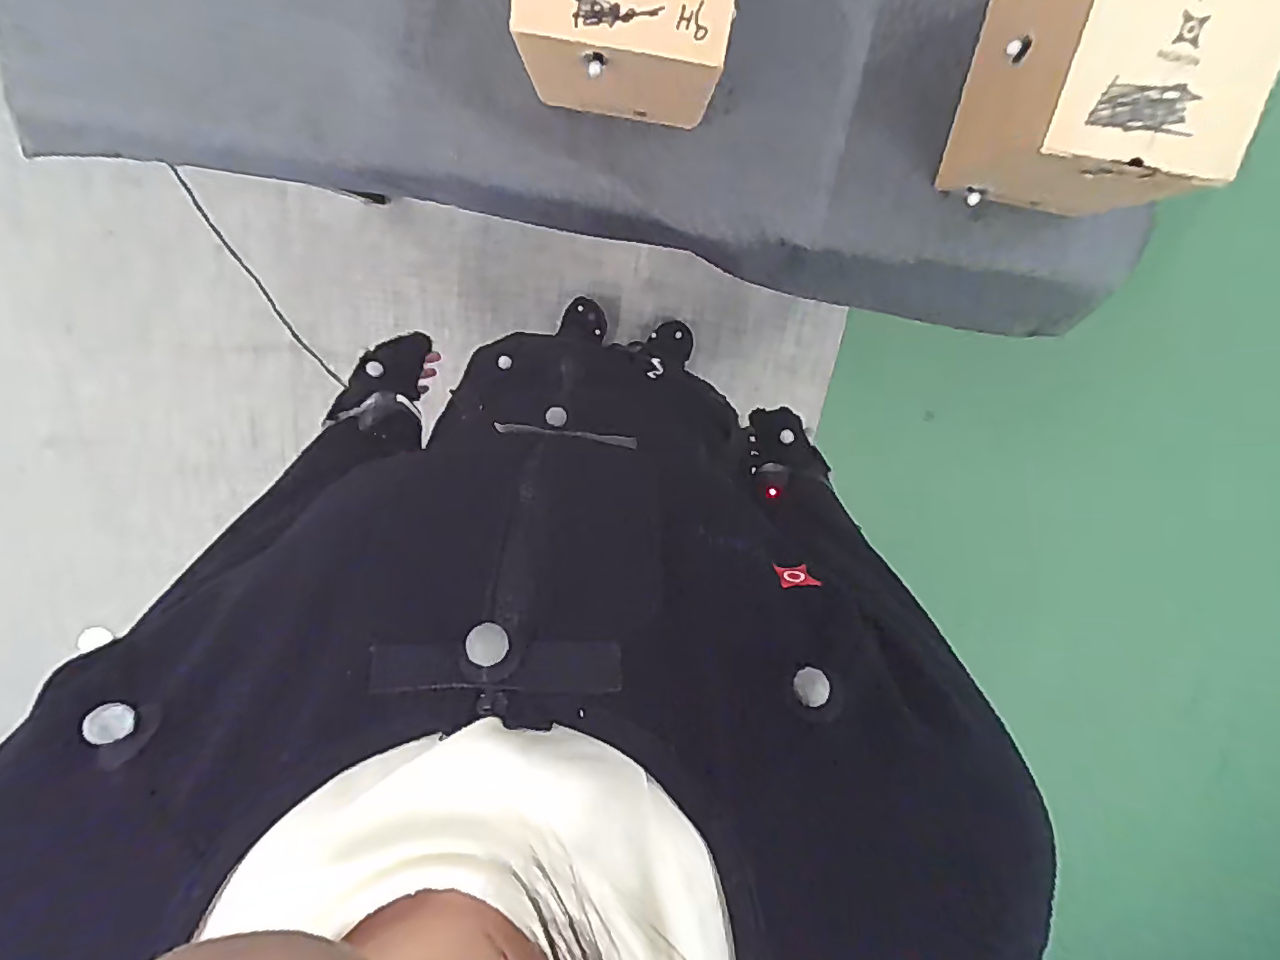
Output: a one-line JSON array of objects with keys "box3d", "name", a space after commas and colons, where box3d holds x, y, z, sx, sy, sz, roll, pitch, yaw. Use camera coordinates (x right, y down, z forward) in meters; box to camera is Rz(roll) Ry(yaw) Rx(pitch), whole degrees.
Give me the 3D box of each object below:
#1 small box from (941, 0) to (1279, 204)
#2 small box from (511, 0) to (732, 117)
[{"box3d": [0.412, -0.368, 0.492, 0.168, 0.176, 0.179, 9, 108, -4], "name": "small box"}, {"box3d": [-0.007, -0.444, 0.455, 0.168, 0.176, 0.179, 8, 109, -4], "name": "small box"}]
